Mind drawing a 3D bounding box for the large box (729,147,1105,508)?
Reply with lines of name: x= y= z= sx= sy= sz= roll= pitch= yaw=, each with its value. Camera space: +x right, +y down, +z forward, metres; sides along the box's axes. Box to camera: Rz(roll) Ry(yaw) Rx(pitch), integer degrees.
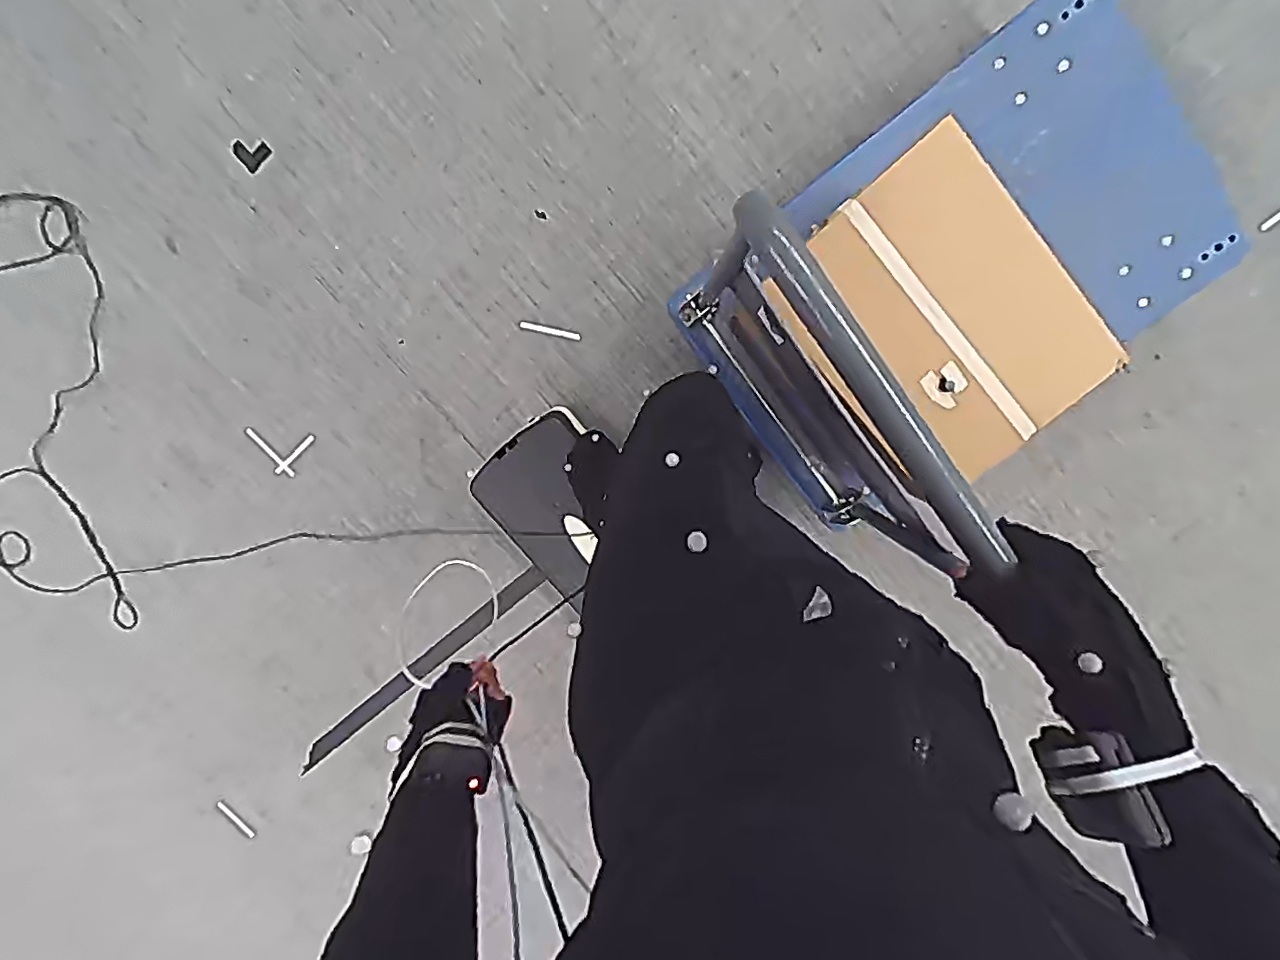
large box: x=0.405 y=-0.226 z=0.895 sx=0.320 sy=0.320 sz=0.408 roll=-41 pitch=97 yaw=10
